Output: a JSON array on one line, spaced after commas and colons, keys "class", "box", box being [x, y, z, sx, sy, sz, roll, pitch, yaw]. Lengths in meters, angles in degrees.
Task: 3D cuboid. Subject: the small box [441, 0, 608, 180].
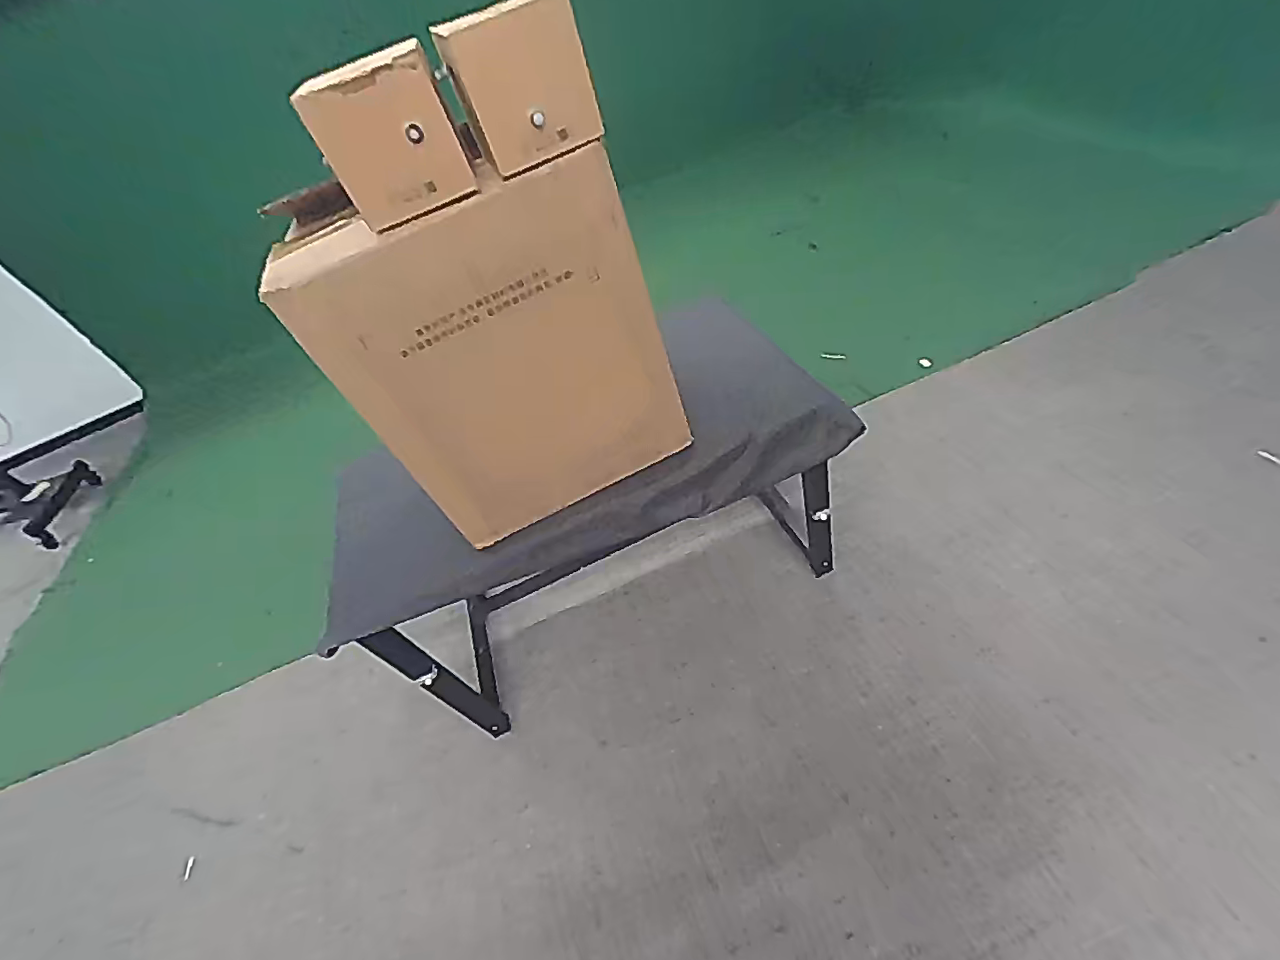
[{"class": "small box", "box": [-0.164, -0.561, 0.783, 0.168, 0.176, 0.179, -26, 46, -5]}]
